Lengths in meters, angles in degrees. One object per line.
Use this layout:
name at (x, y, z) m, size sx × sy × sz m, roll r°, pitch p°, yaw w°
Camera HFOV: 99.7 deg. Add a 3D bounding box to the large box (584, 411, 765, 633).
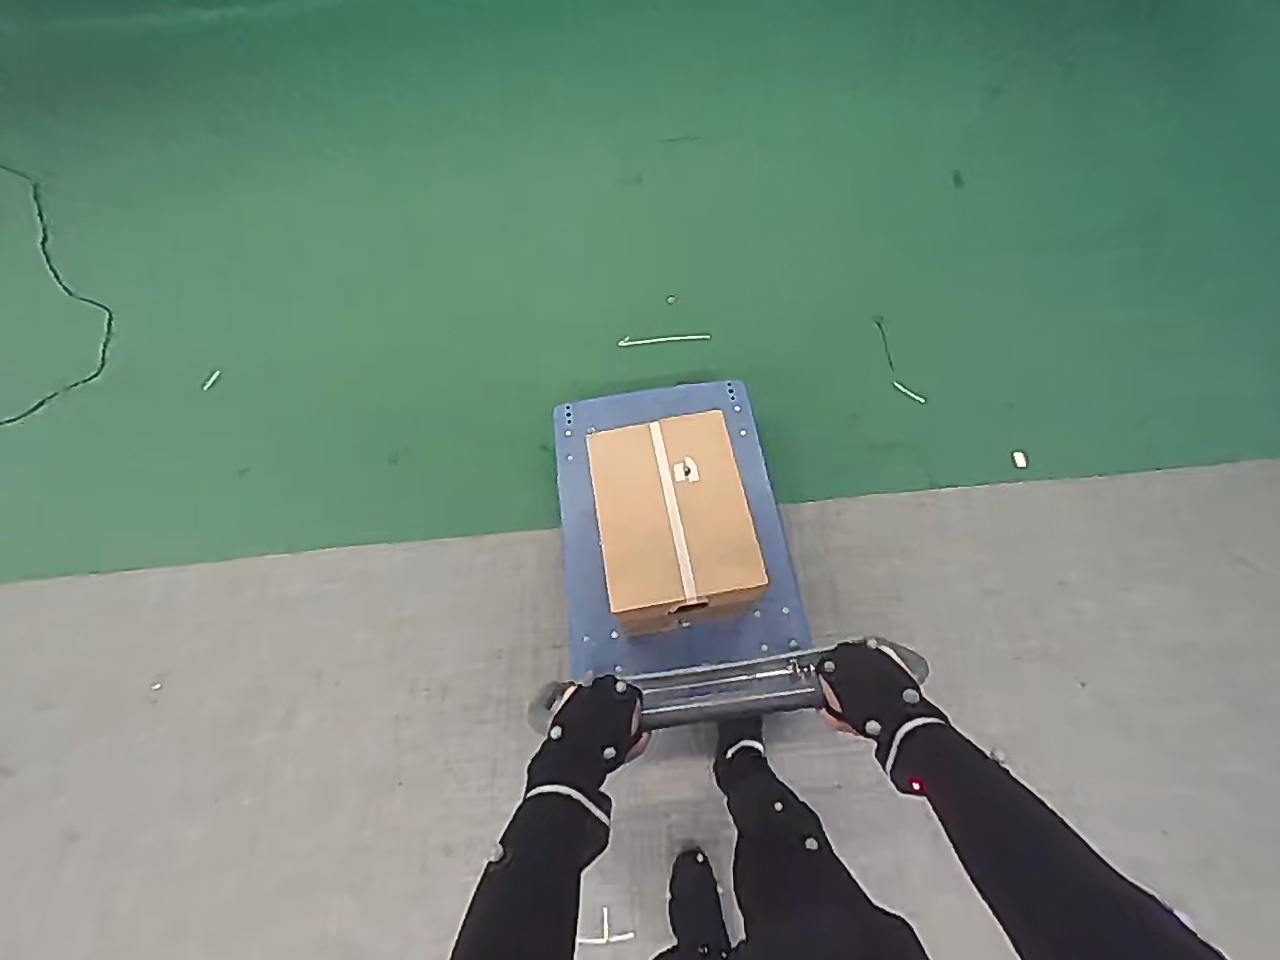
large box at (0.072, 0.111, 1.270) m, size 0.320 × 0.320 × 0.408 m, roll -11°, pitch 66°, yaw -1°
